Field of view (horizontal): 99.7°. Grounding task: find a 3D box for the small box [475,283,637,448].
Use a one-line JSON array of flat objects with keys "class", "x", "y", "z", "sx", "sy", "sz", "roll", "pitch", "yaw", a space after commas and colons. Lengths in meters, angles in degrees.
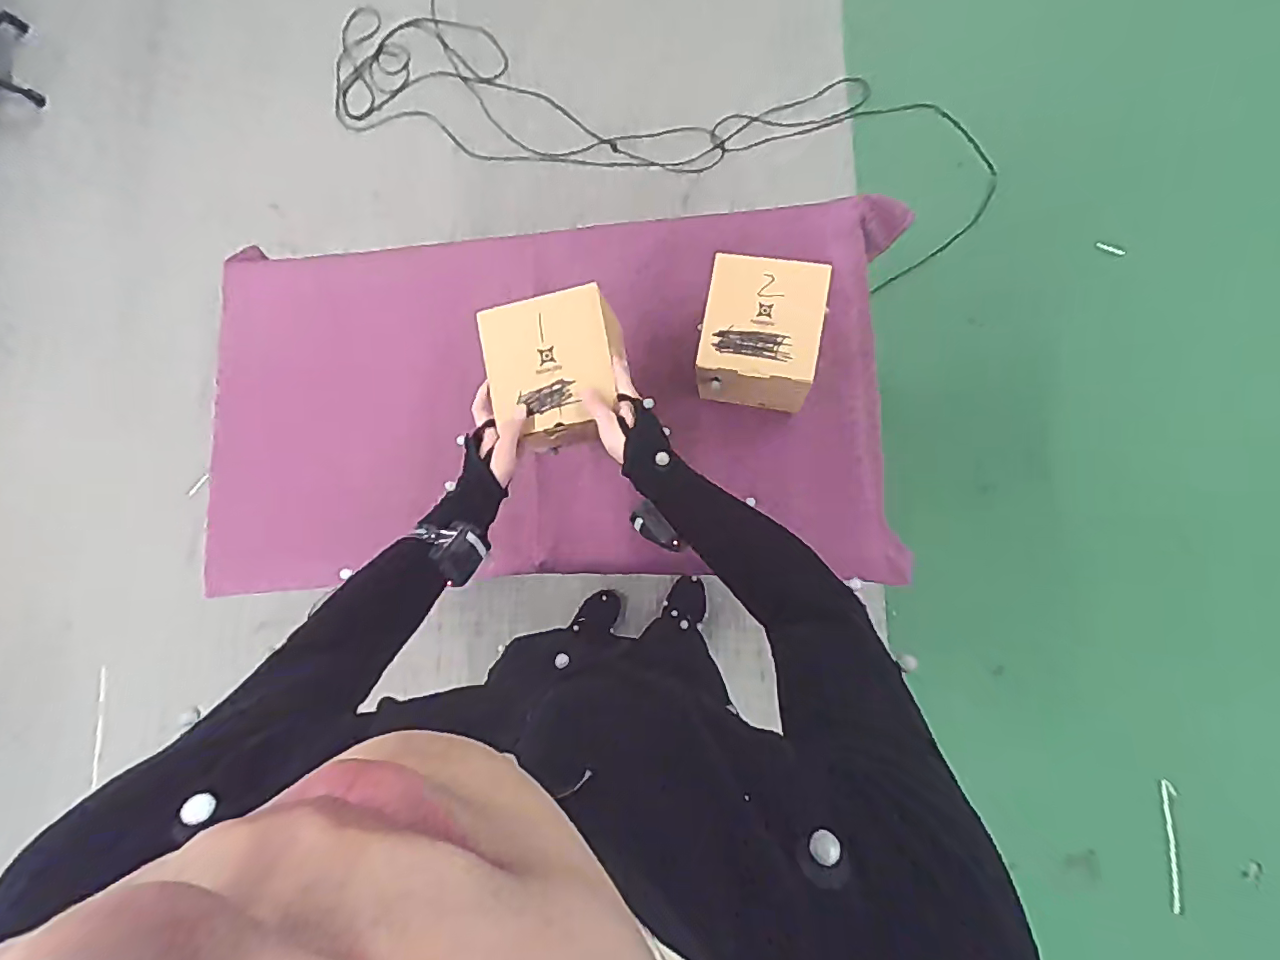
[{"class": "small box", "x": -0.108, "y": -0.145, "z": 0.762, "sx": 0.168, "sy": 0.176, "sz": 0.179, "roll": -12, "pitch": 86, "yaw": 8}]
